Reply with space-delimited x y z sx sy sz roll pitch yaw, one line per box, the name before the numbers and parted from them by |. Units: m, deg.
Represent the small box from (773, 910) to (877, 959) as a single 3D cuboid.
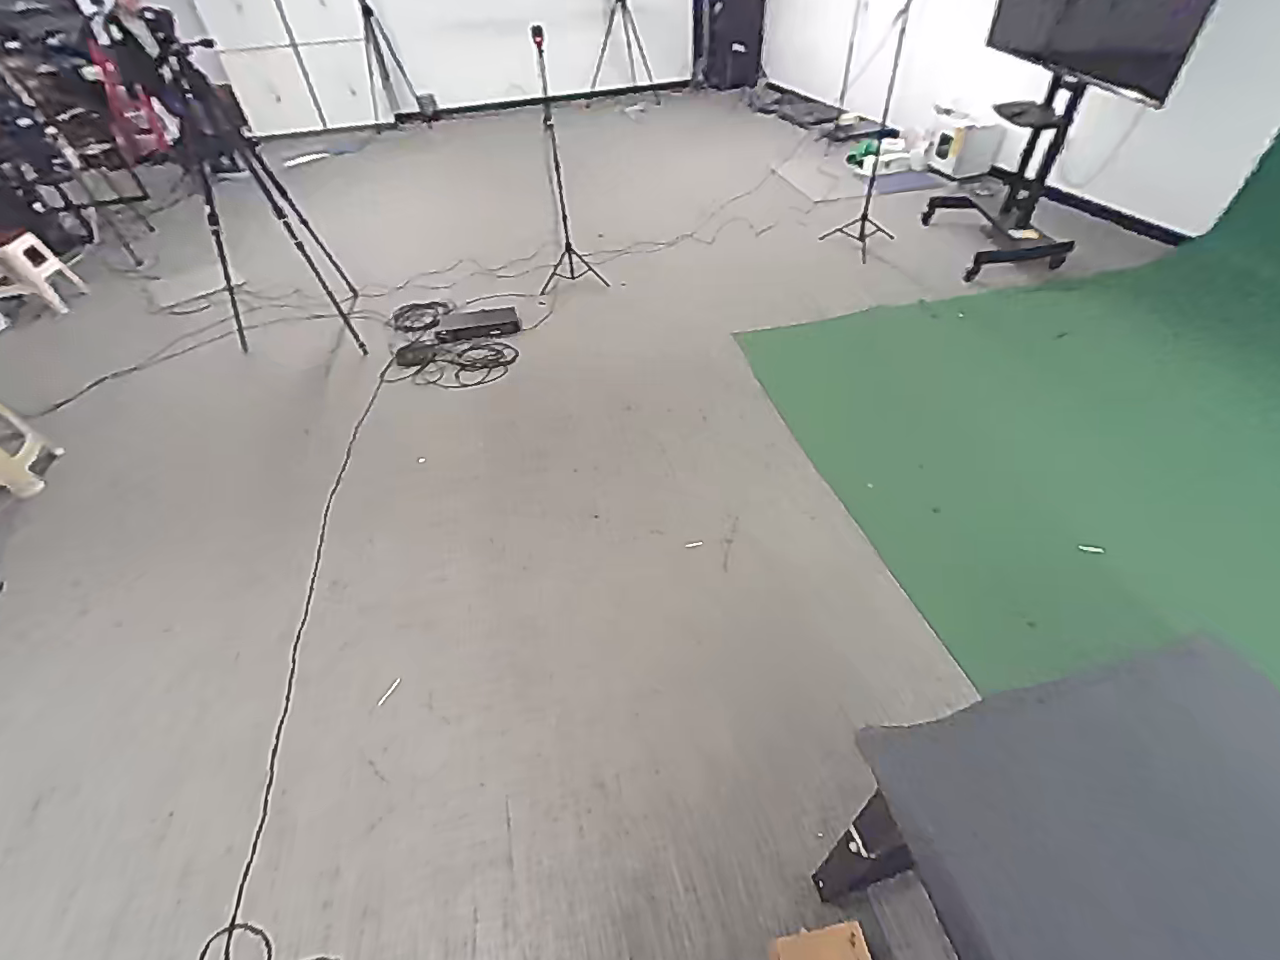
small box | 0.372 0.985 1.072 0.179 0.176 0.168 -9 45 -5
